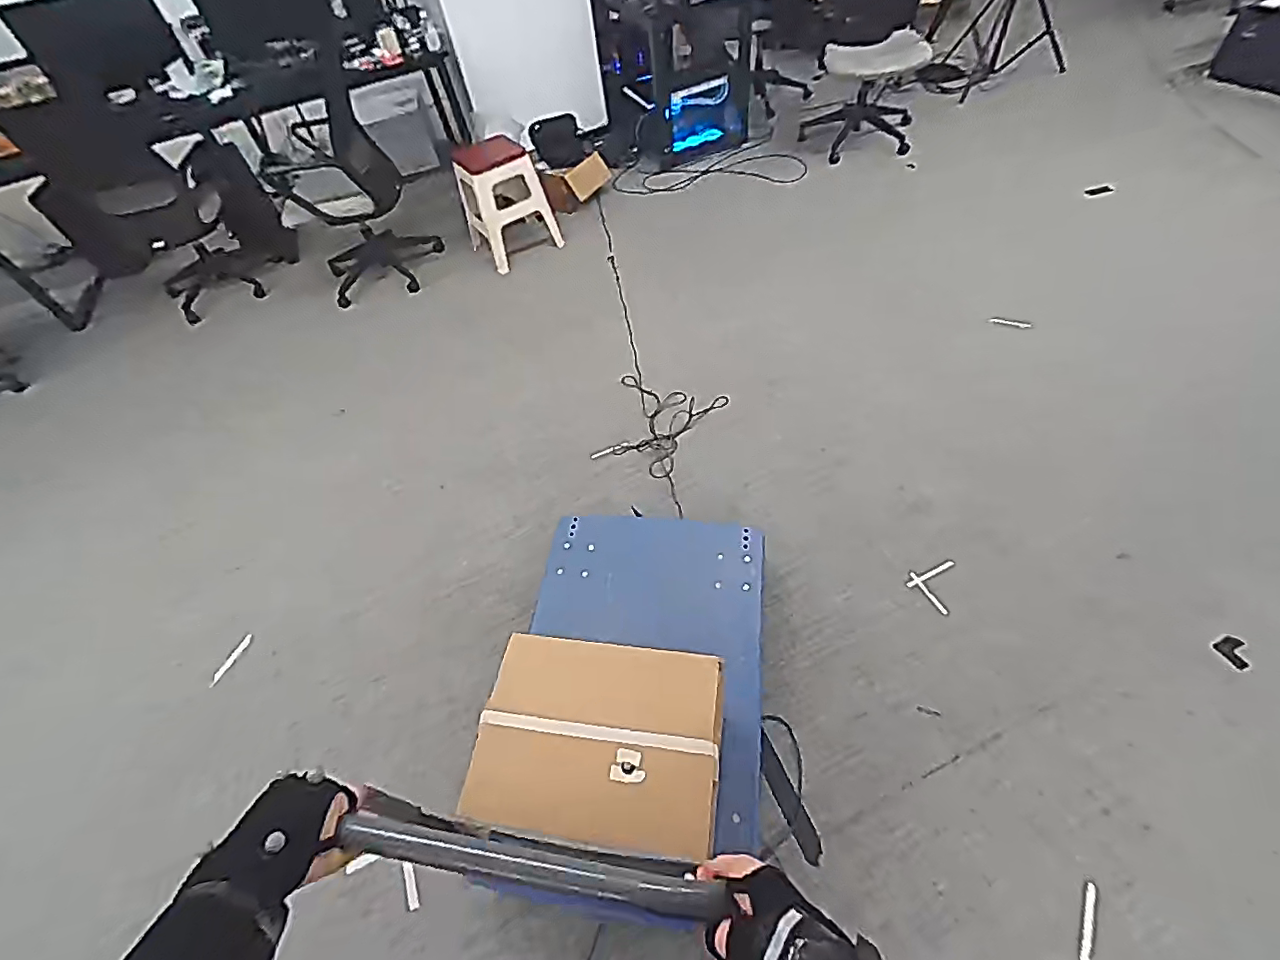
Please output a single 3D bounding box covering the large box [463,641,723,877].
[{"bbox_3d":[-0.054,0.532,1.033,0.408,0.320,0.320,3,52,10],"label":"large box"}]
